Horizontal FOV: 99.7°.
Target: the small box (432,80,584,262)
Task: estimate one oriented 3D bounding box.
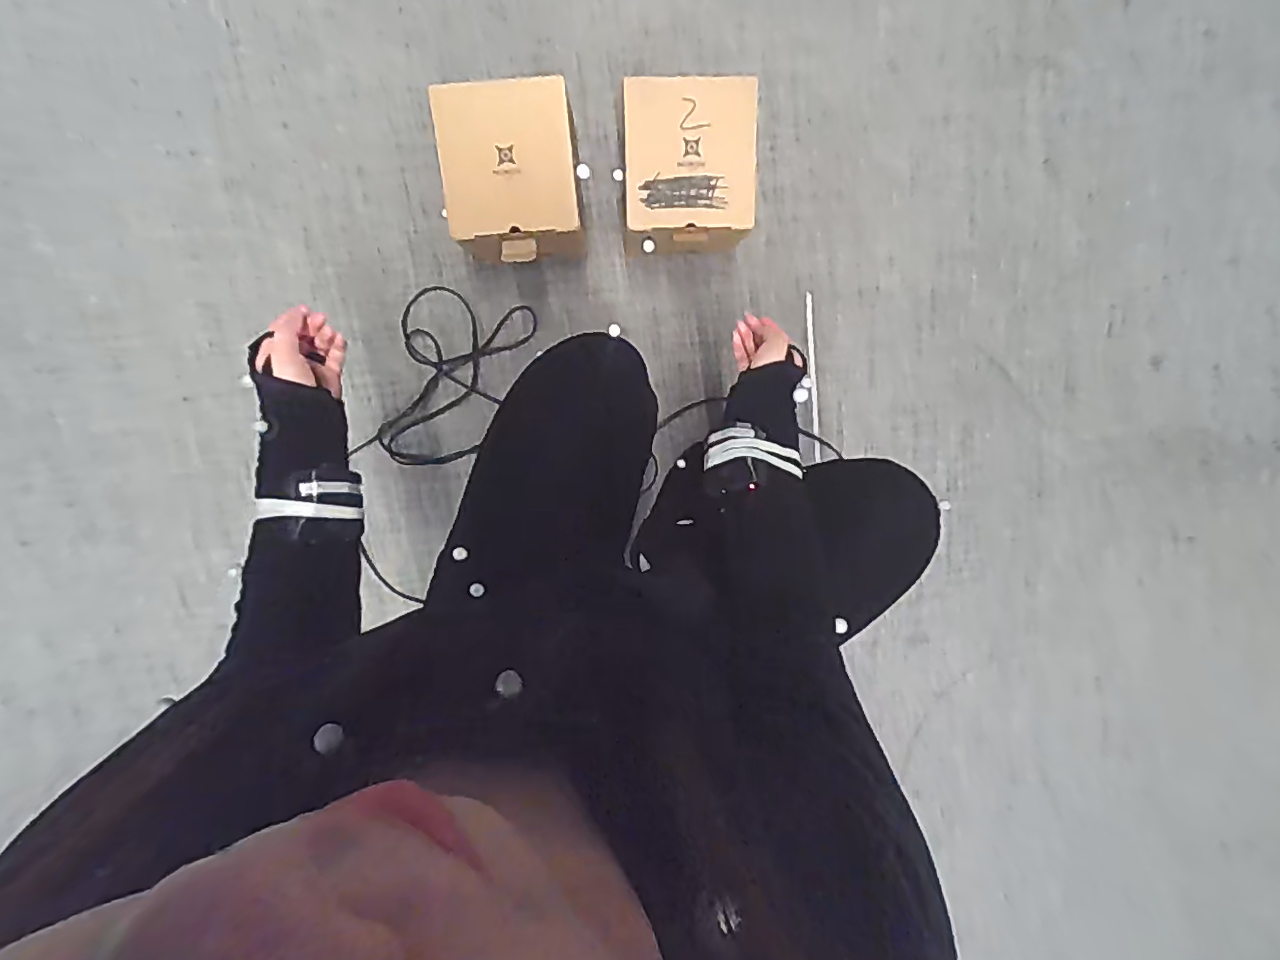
[{"bbox_3d":[-0.169,-0.414,0.750,0.168,0.176,0.179,-5,104,-1],"label":"small box"}]
